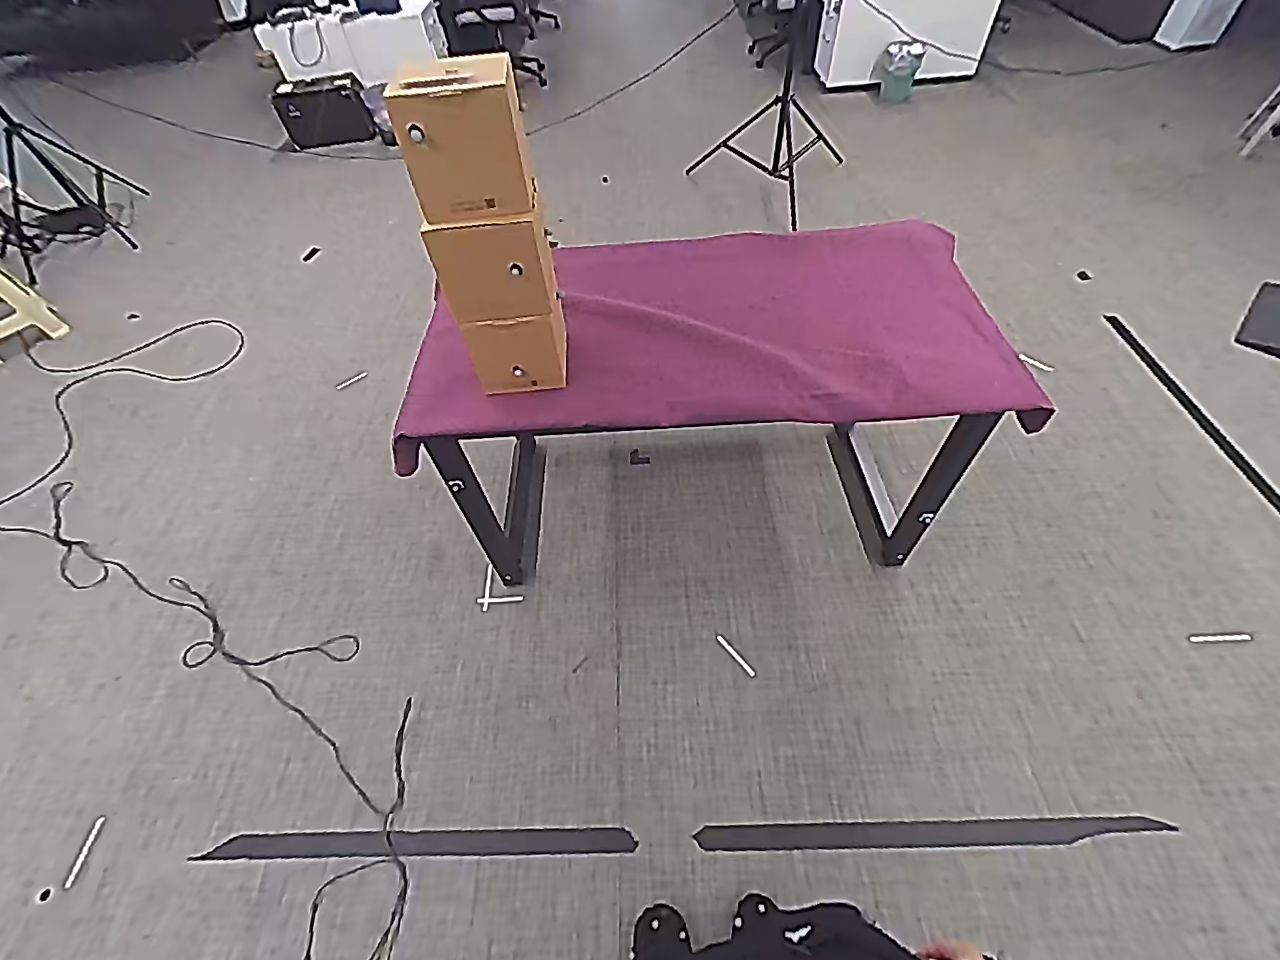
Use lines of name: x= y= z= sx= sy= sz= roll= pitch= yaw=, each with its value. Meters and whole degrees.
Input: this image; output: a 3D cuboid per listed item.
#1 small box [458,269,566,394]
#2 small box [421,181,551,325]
small box: x=-0.243 y=-0.293 z=1.071 sx=0.168 sy=0.176 sz=0.179 roll=-6 pitch=52 yaw=0
small box: x=-0.254 y=-0.393 z=0.944 sx=0.179 sy=0.176 sz=0.168 roll=-7 pitch=50 yaw=0
